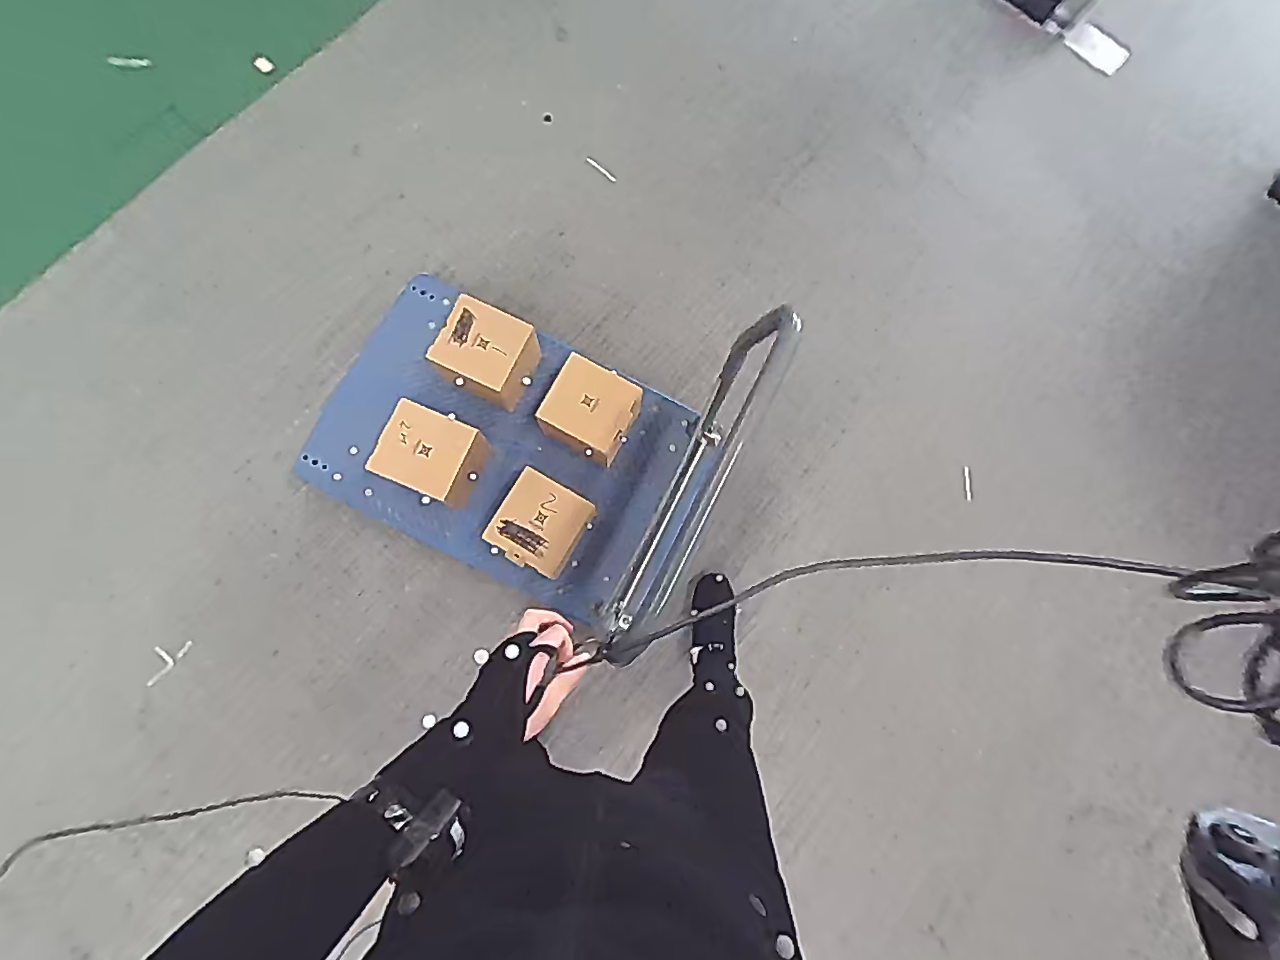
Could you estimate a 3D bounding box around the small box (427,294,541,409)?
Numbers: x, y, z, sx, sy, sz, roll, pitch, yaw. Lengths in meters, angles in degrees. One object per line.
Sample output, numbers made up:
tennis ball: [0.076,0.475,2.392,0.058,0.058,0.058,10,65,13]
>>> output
small box: [-0.342,-0.281,1.226,0.179,0.176,0.168,25,81,0]

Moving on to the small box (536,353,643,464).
small box: [-0.112,-0.151,1.224,0.179,0.176,0.168,29,80,0]

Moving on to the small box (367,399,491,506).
small box: [-0.448,-0.051,1.182,0.179,0.176,0.168,24,79,0]
